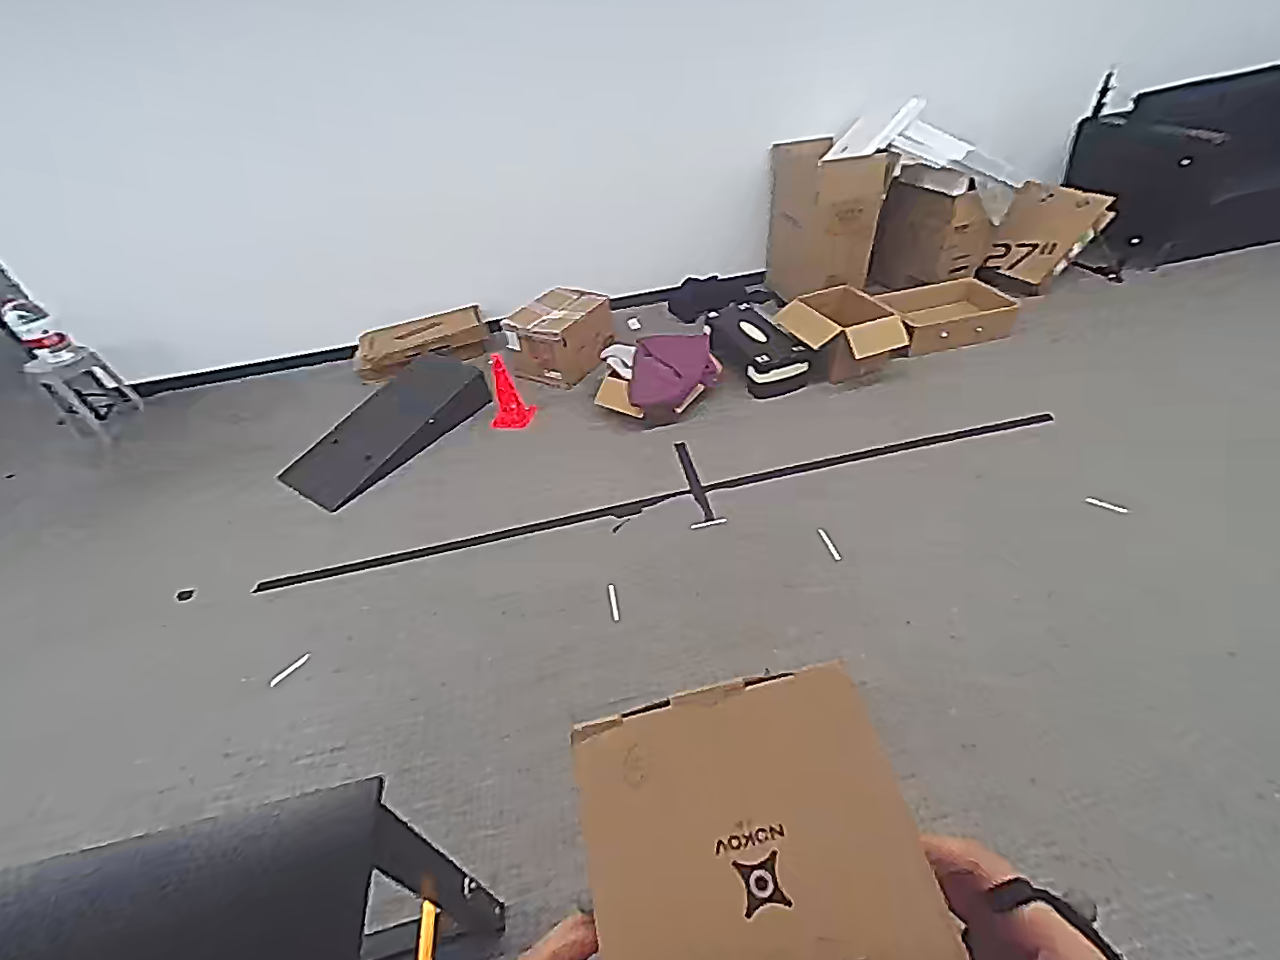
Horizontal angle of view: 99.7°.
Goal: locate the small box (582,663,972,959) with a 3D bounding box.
[{"bbox_3d":[0.066,0.237,0.335,0.168,0.176,0.179,-12,58,-3],"label":"small box"}]
